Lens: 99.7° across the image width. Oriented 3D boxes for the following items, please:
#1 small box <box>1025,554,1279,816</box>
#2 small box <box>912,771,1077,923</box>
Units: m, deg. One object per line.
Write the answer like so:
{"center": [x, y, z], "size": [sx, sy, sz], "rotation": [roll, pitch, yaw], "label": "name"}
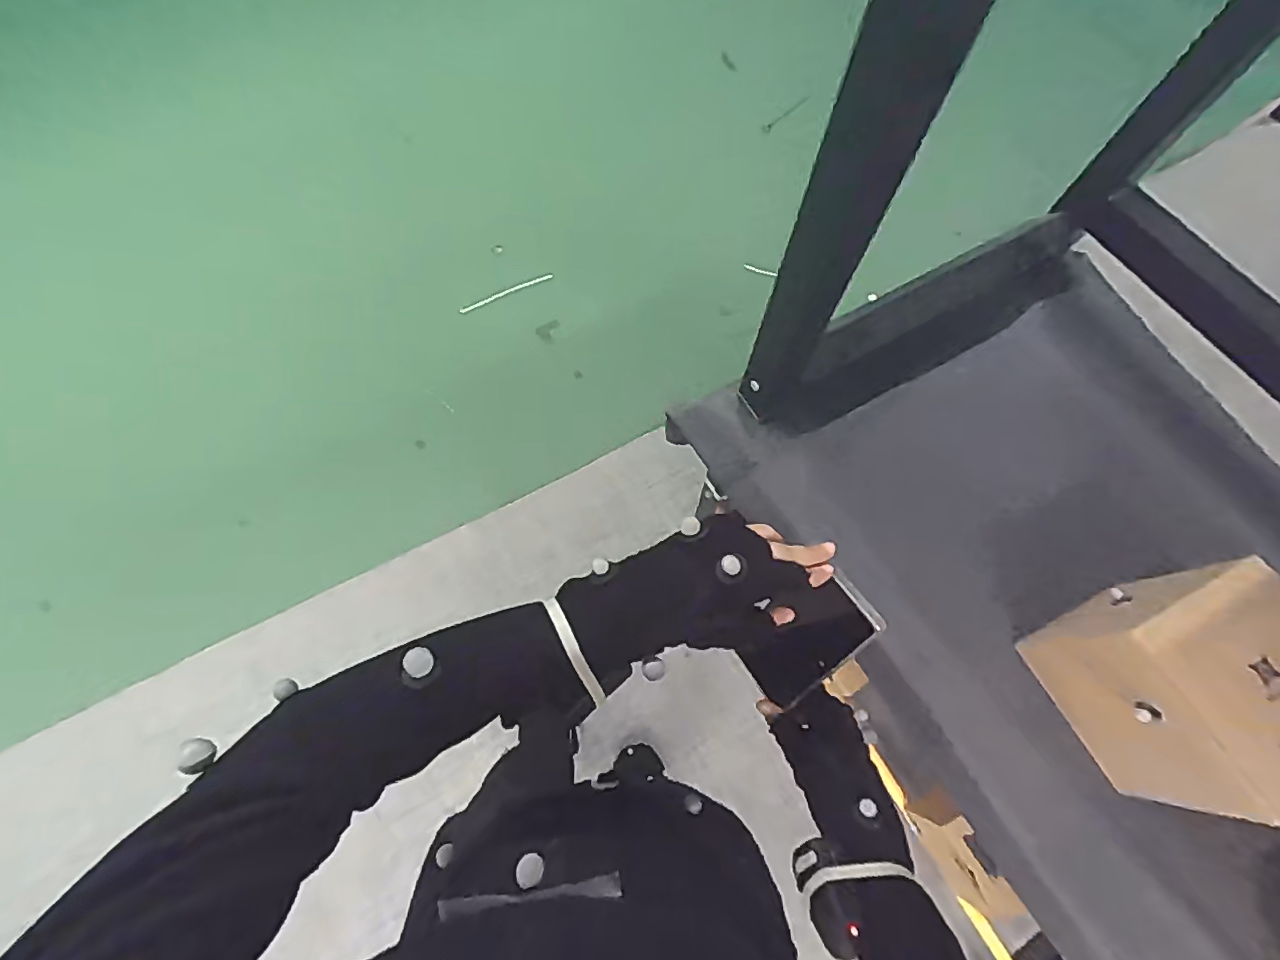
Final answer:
{"center": [0.557, 0.204, 0.554], "size": [0.168, 0.176, 0.179], "rotation": [-25, 70, -9], "label": "small box"}
{"center": [0.656, 0.686, 1.034], "size": [0.179, 0.176, 0.168], "rotation": [-24, 71, -9], "label": "small box"}
